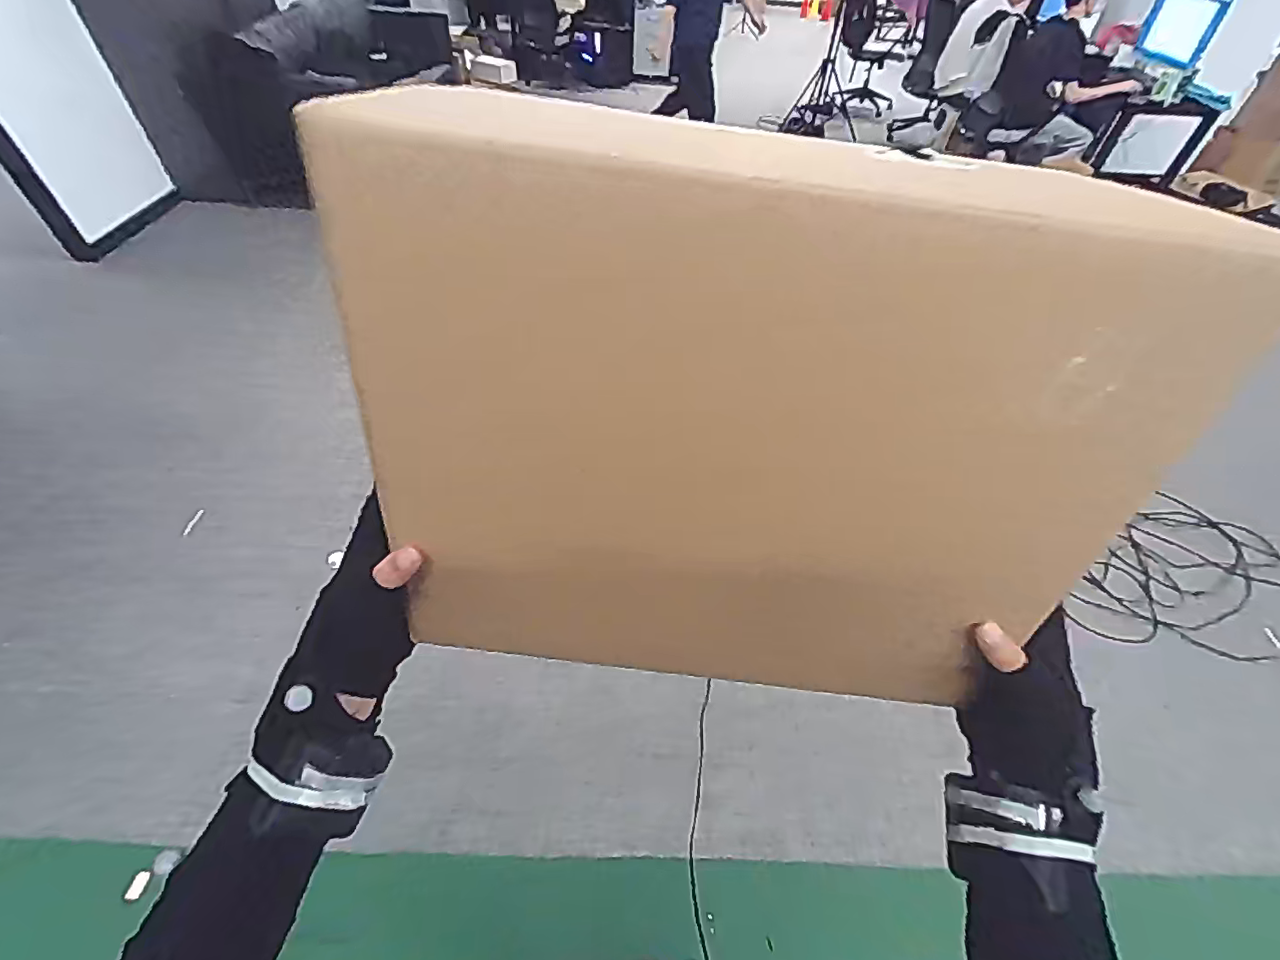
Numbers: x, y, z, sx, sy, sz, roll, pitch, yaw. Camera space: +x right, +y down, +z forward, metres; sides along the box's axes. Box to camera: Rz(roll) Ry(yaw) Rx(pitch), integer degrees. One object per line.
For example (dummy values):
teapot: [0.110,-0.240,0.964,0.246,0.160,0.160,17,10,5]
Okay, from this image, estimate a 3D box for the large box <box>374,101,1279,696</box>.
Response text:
large box: [0.074,-0.070,0.419,0.408,0.320,0.320,8,36,-3]
